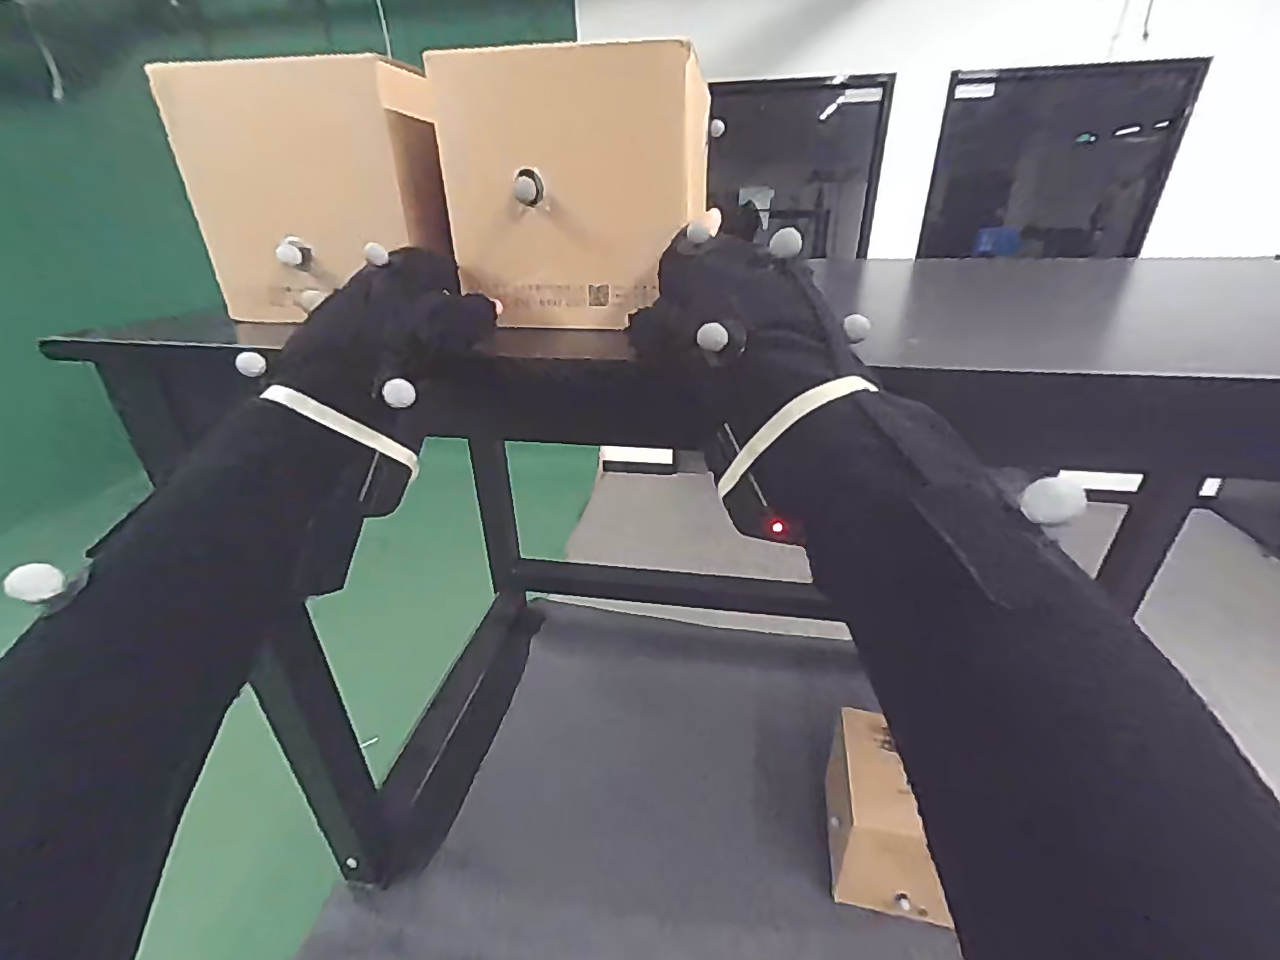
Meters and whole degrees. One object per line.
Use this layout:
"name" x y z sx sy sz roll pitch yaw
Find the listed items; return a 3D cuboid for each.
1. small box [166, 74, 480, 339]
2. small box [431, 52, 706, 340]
"small box" -0.229 -0.226 0.463 0.168 0.176 0.179 3 28 8
"small box" -0.035 -0.212 0.433 0.168 0.176 0.179 3 27 9
